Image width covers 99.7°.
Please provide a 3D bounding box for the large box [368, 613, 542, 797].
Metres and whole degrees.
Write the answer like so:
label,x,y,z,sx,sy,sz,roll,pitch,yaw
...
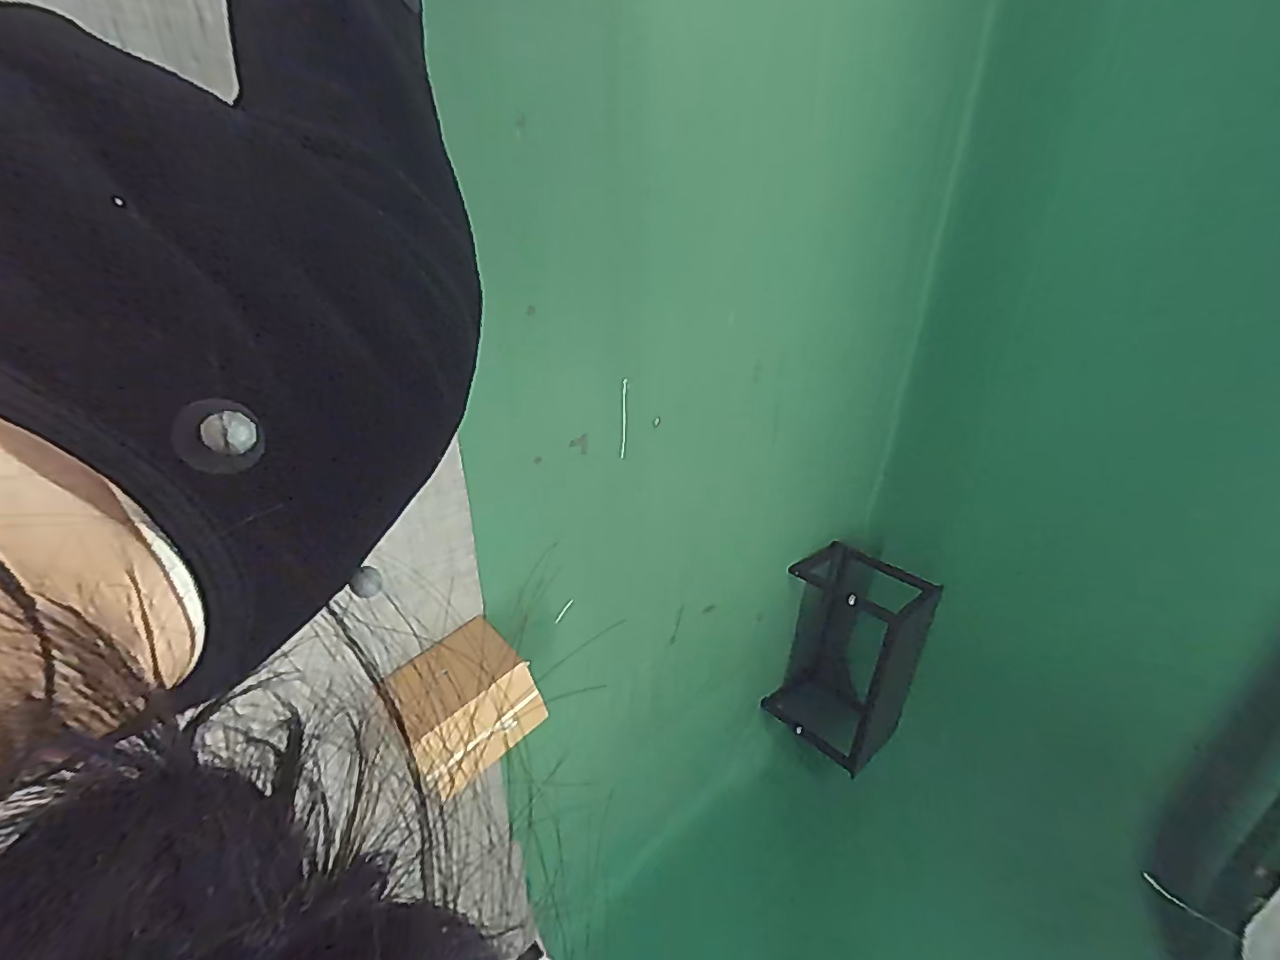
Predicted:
label,x,y,z,sx,sy,sz,roll,pitch,yaw
large box,-0.609,0.733,1.809,0.408,0.320,0.320,-34,131,-31
